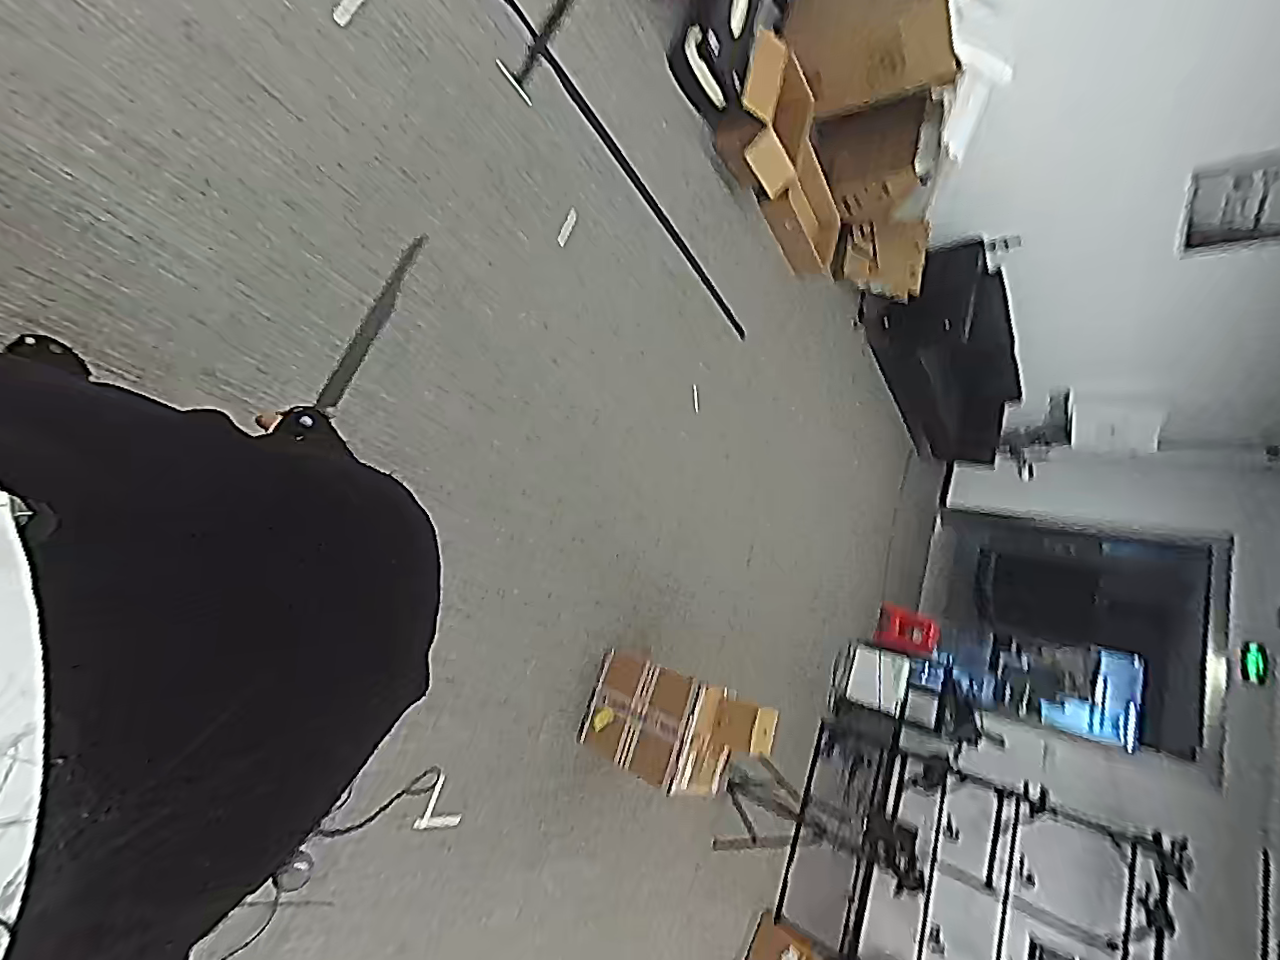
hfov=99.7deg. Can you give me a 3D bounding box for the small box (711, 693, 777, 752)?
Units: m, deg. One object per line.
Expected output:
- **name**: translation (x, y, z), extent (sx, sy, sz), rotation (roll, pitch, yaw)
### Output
- **small box**: translation (0.403, 0.935, 2.088), extent (0.179, 0.176, 0.168), rotation (30, 70, -44)
